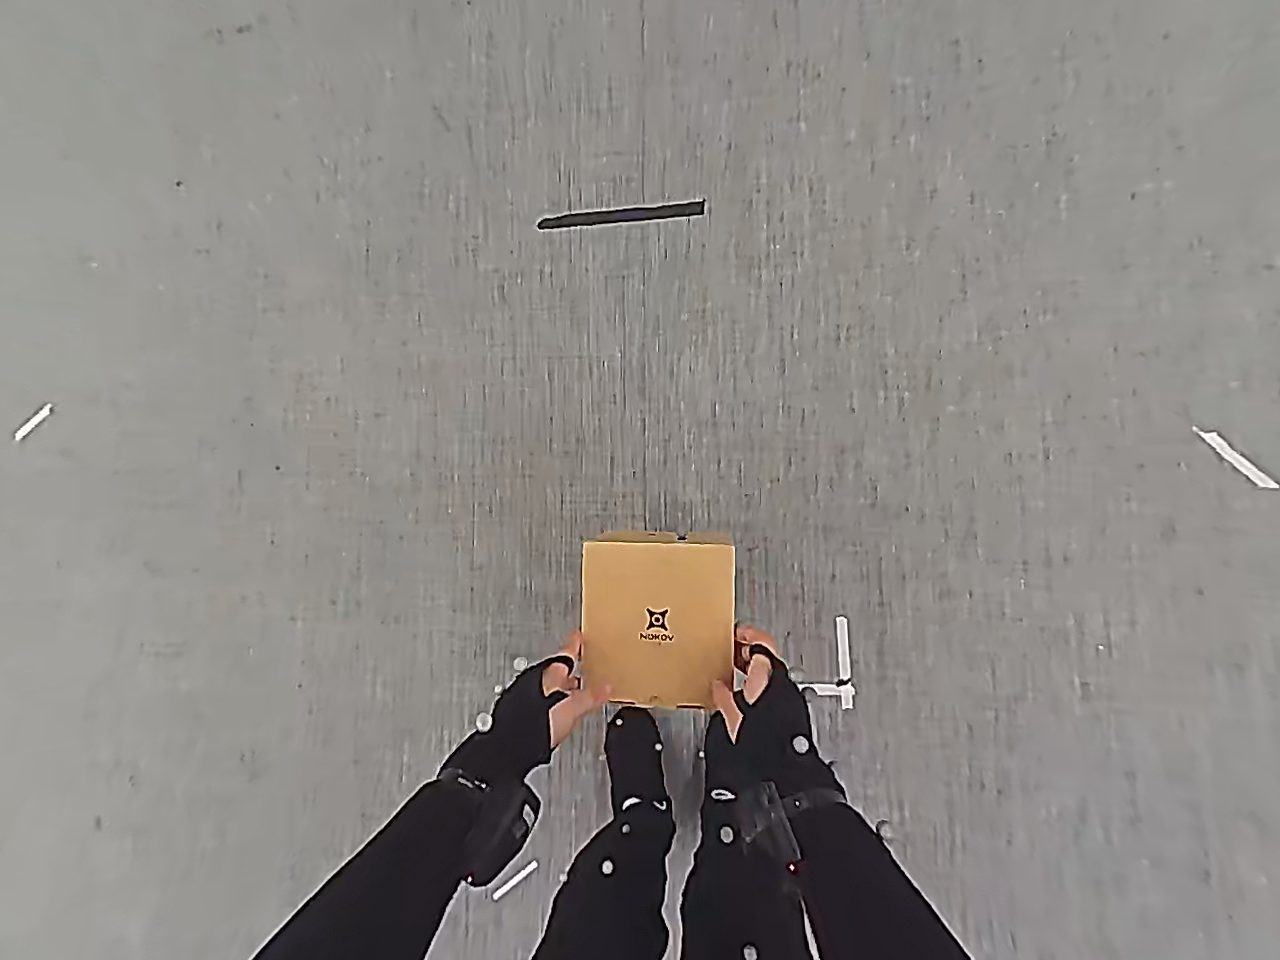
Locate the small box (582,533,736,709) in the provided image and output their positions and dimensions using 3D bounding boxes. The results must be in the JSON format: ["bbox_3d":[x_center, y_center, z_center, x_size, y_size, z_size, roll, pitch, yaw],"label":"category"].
[{"bbox_3d":[0.028,0.155,0.656,0.168,0.176,0.179,0,89,7],"label":"small box"}]
